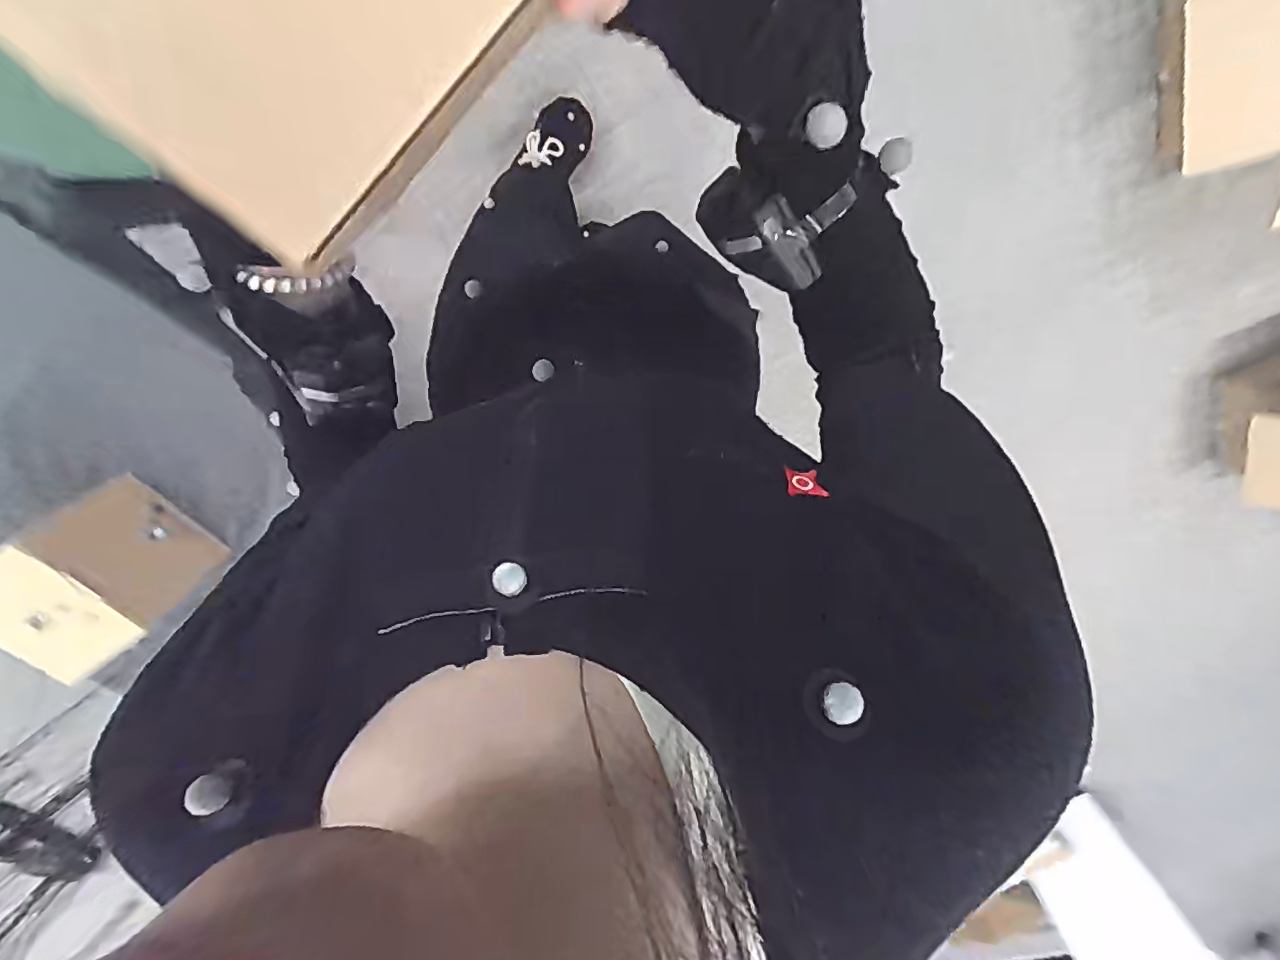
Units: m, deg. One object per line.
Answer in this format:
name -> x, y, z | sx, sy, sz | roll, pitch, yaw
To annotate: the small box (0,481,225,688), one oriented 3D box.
small box -> -0.717, 0.134, 0.722 | 0.179, 0.176, 0.168 | -31, 116, 14
